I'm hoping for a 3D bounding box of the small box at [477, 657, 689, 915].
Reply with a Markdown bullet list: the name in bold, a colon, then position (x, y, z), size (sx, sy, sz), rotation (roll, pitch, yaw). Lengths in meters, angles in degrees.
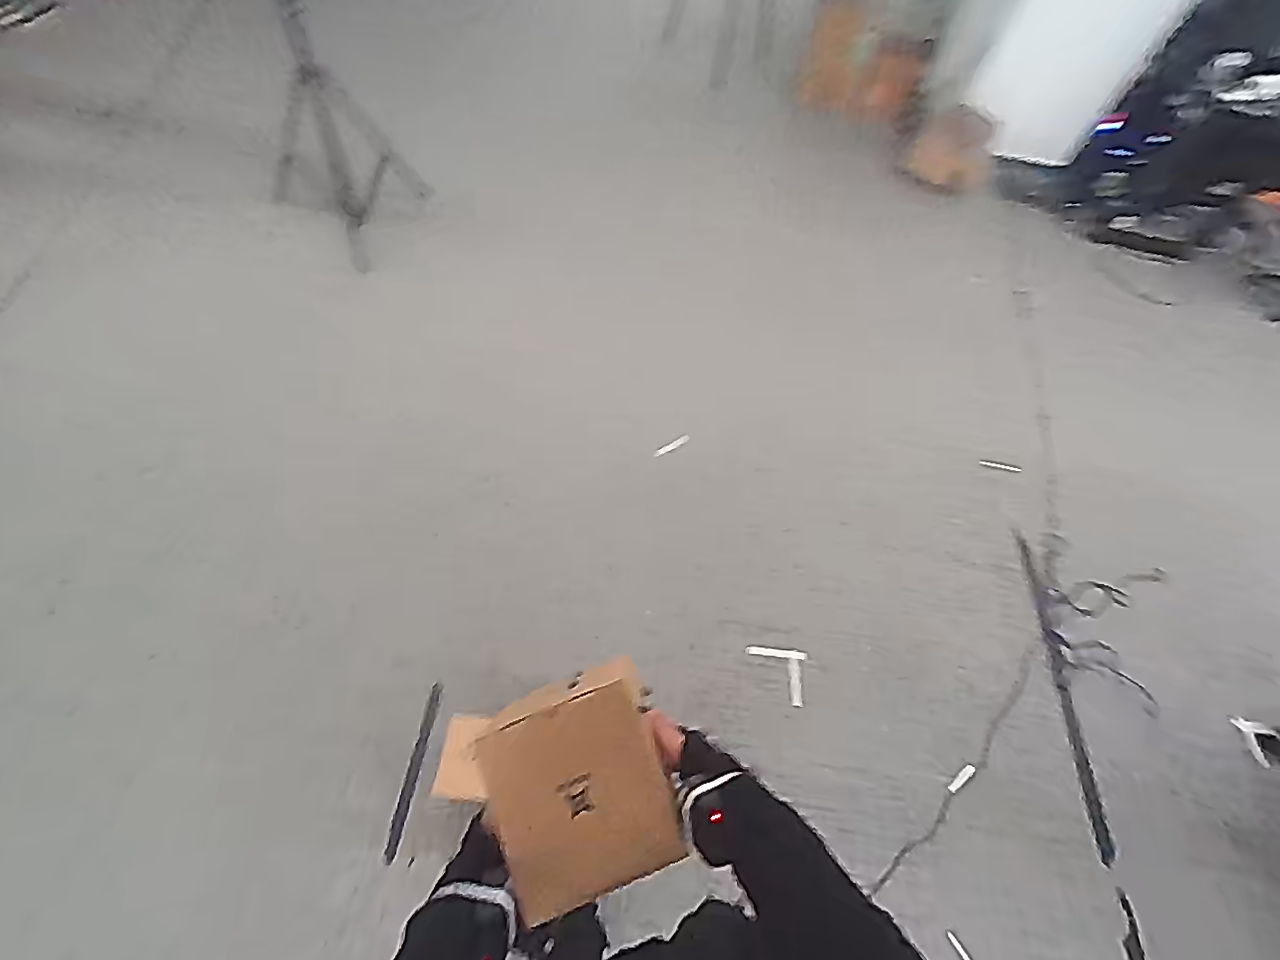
- **small box**: position (-0.055, 0.314, 0.598), size (0.168, 0.176, 0.179), rotation (-21, 78, -4)
